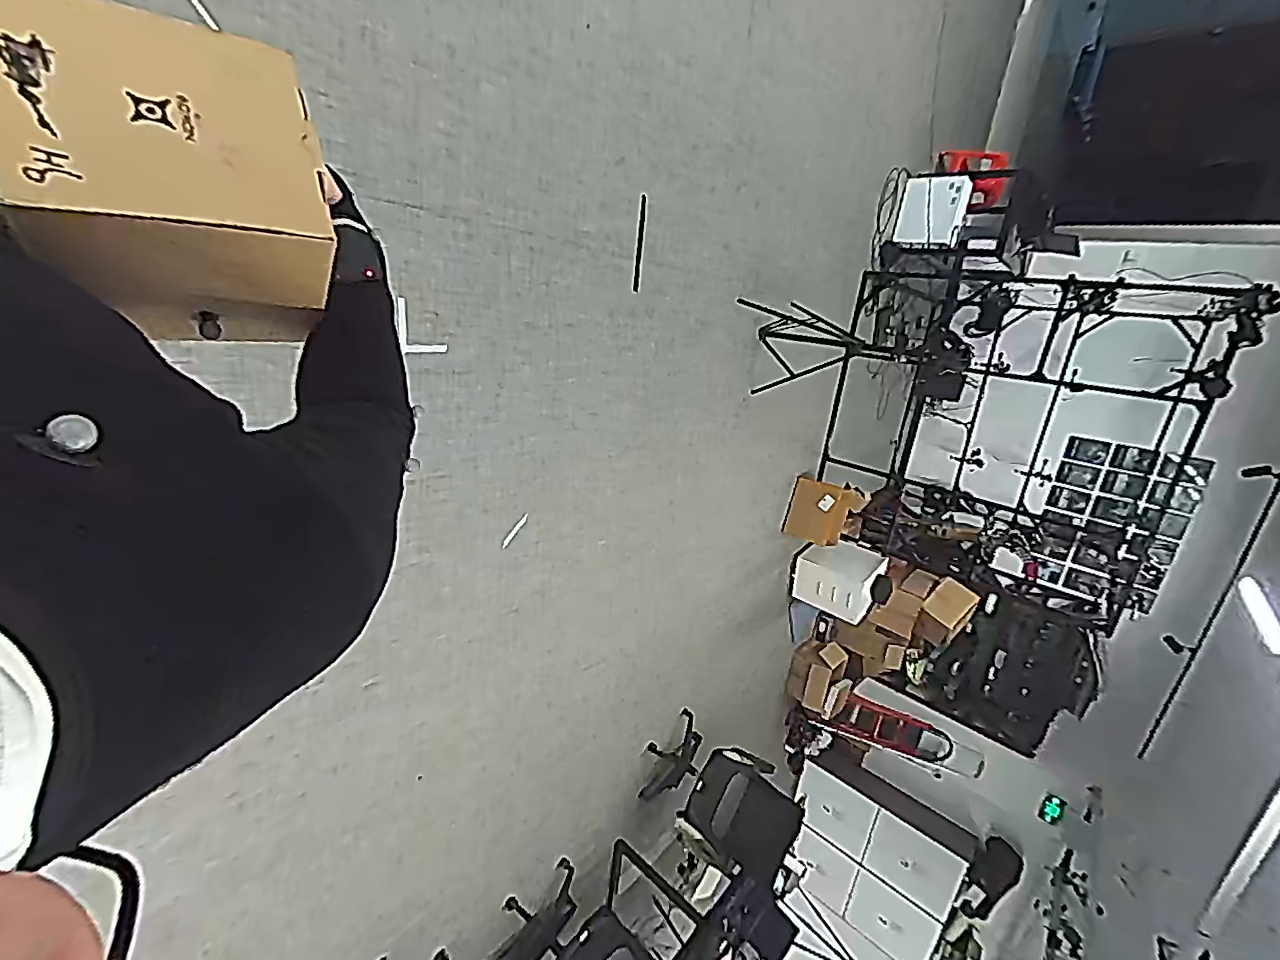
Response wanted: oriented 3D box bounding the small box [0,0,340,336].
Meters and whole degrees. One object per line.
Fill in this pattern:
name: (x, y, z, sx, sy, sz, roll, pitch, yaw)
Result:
small box: (-0.371, -0.232, 0.447, 0.179, 0.176, 0.168, -10, 80, -37)
